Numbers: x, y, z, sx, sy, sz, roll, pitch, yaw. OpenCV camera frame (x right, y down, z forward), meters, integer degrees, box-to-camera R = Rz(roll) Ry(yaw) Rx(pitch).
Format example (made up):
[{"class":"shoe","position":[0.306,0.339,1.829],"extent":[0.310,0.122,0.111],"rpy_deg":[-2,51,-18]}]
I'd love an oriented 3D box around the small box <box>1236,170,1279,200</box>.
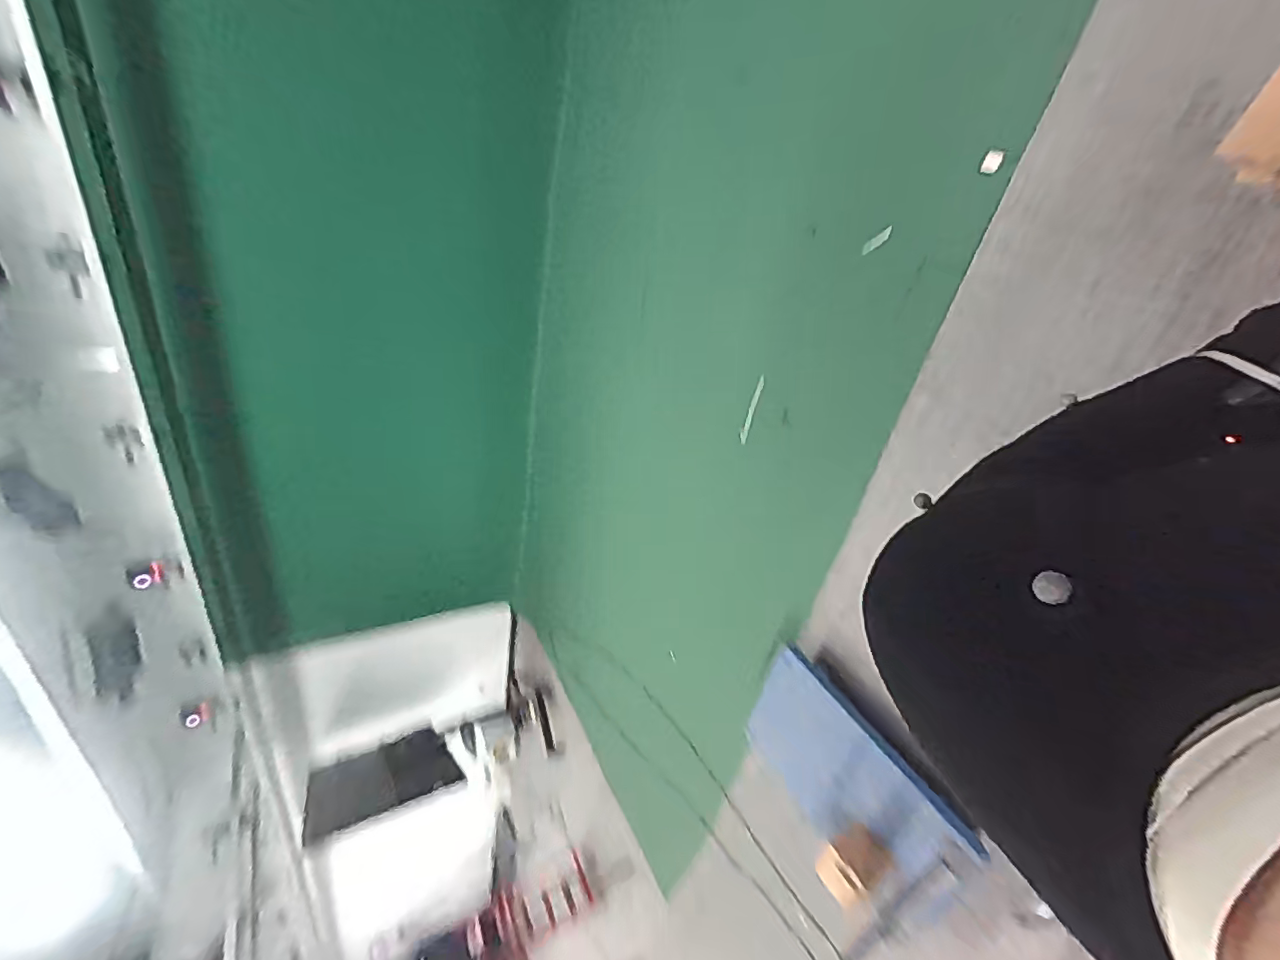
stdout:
[{"class":"small box","position":[1.250,-0.591,0.961],"extent":[0.168,0.176,0.179],"rpy_deg":[51,136,40]}]

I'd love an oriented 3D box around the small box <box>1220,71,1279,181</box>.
[{"class":"small box","position":[1.104,-0.580,0.858],"extent":[0.168,0.176,0.179],"rpy_deg":[51,137,40]}]
